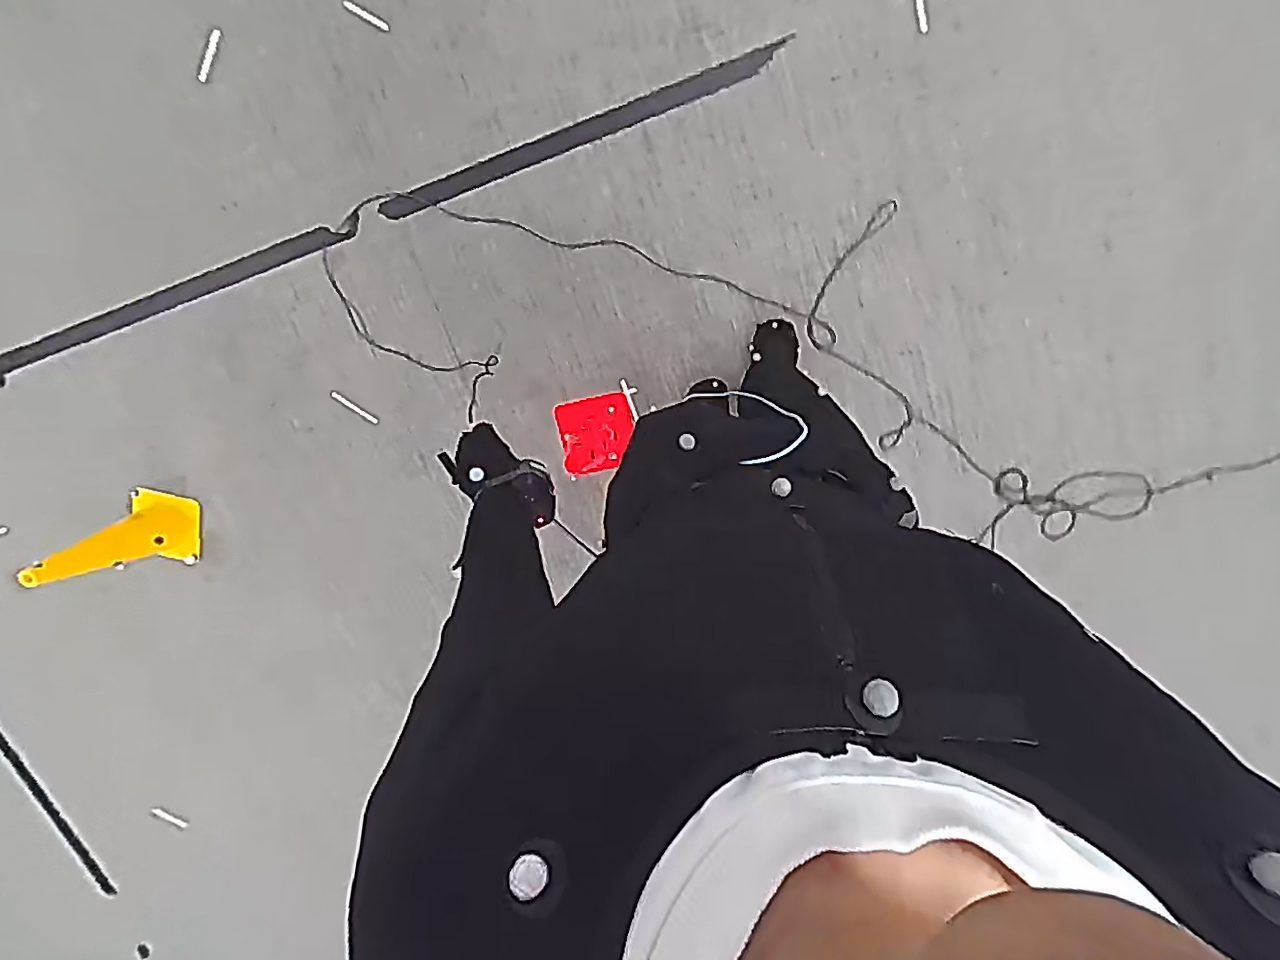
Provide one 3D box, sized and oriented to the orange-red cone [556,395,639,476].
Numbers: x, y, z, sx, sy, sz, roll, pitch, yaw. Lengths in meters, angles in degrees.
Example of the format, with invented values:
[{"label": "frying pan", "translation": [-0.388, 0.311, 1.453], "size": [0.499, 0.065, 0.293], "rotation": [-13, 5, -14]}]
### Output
[{"label": "orange-red cone", "translation": [-0.124, -0.074, 1.259], "size": [0.199, 0.360, 0.198], "rotation": [-10, 103, 8]}]
